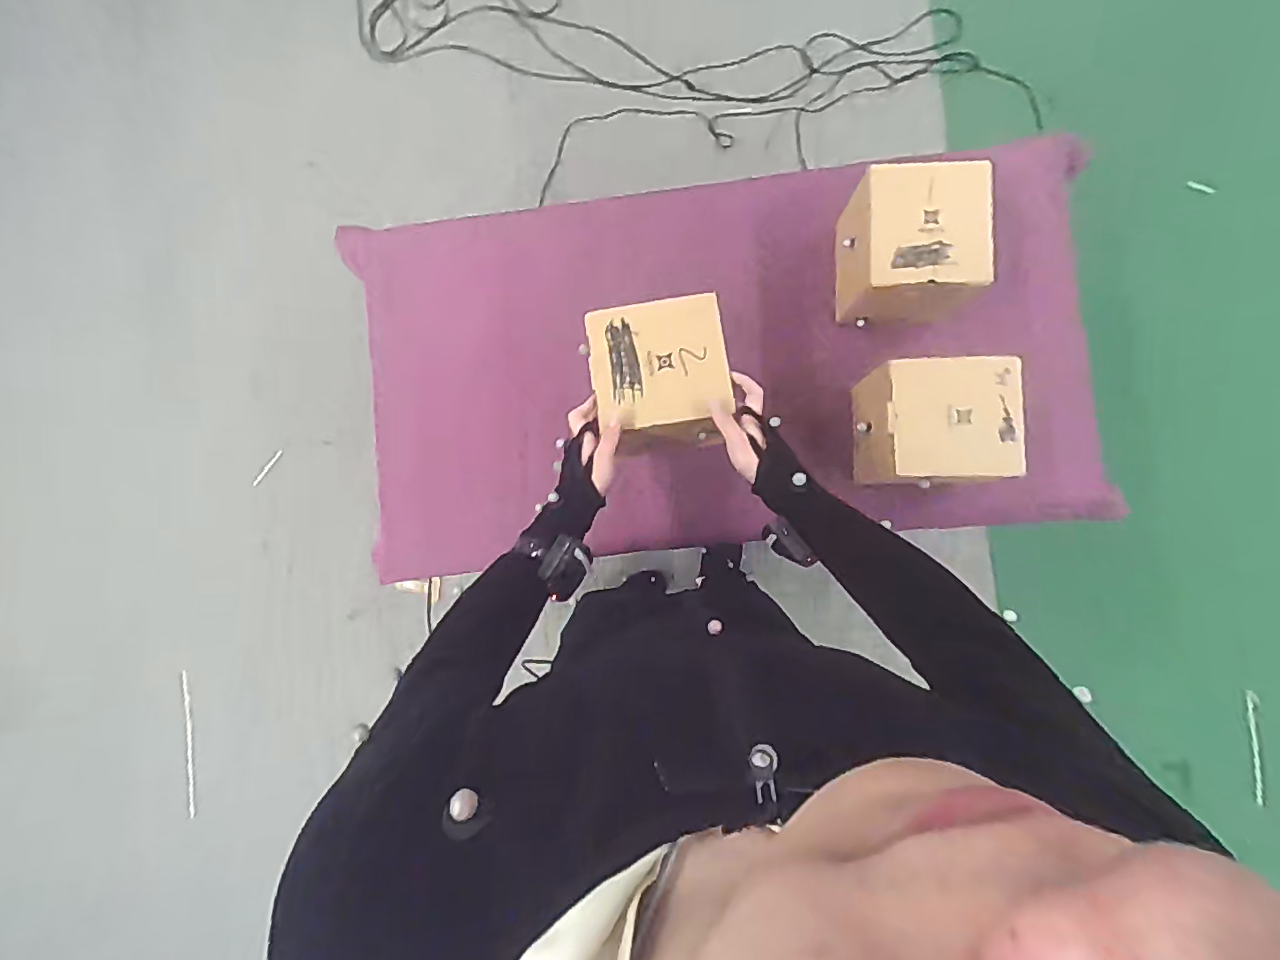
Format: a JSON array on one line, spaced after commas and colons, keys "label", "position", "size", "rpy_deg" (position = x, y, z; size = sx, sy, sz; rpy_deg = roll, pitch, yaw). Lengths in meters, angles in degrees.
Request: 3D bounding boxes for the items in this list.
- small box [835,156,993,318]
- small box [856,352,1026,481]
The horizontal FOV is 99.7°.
[{"label": "small box", "position": [0.405, -0.355, 0.823], "size": [0.168, 0.176, 0.179], "rpy_deg": [1, 87, 4]}, {"label": "small box", "position": [0.433, -0.085, 0.808], "size": [0.179, 0.176, 0.168], "rpy_deg": [0, 87, 5]}]
